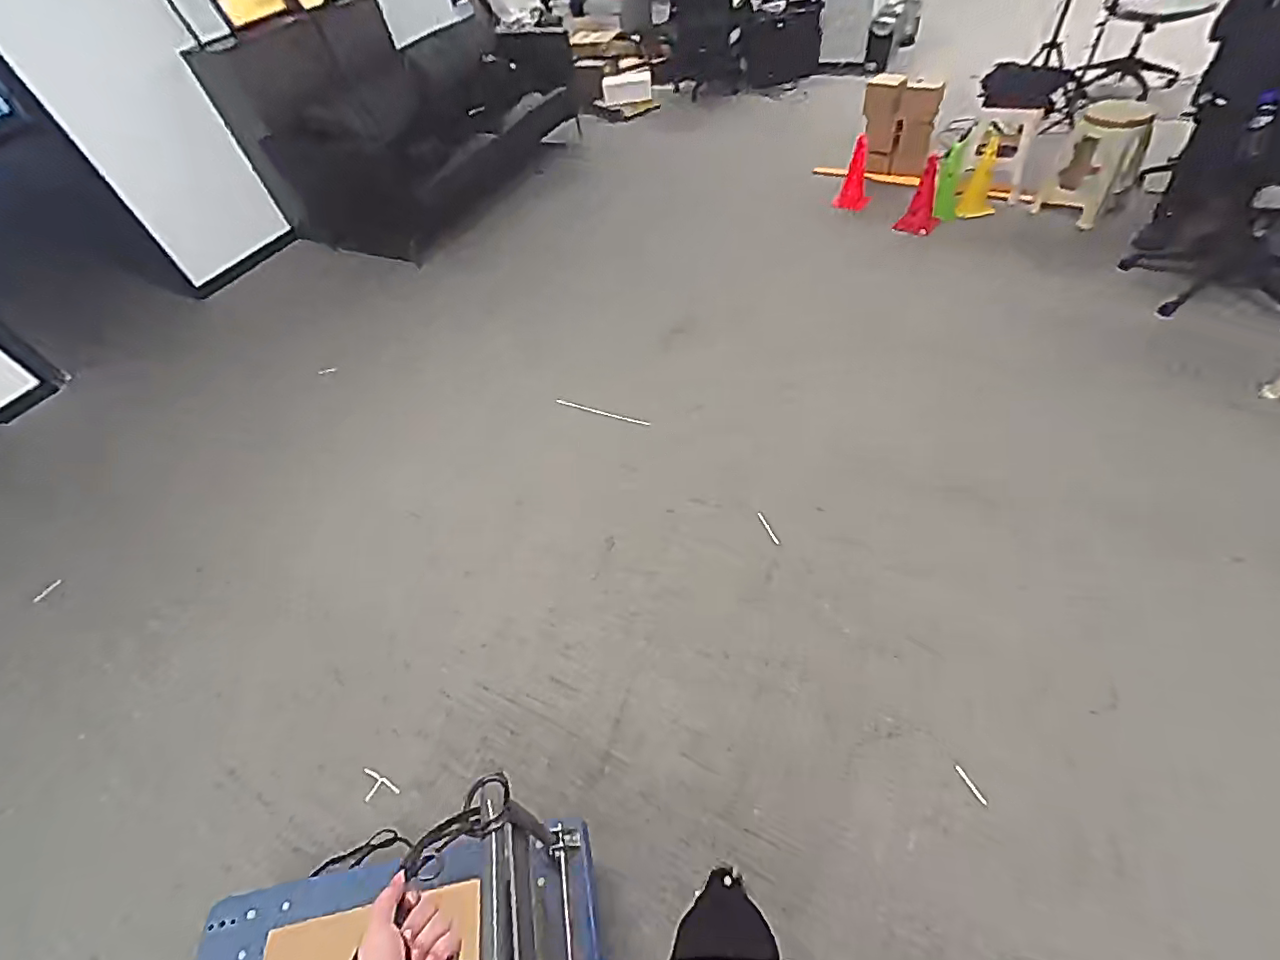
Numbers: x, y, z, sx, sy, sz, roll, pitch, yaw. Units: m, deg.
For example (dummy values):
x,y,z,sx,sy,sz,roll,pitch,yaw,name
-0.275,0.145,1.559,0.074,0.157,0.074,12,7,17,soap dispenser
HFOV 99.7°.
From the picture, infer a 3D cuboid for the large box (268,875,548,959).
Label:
x,y,z,sx,sy,sz,roll,pitch,yaw,name
-0.388,0.941,0.951,0.408,0.320,0.320,-14,49,-1,large box
